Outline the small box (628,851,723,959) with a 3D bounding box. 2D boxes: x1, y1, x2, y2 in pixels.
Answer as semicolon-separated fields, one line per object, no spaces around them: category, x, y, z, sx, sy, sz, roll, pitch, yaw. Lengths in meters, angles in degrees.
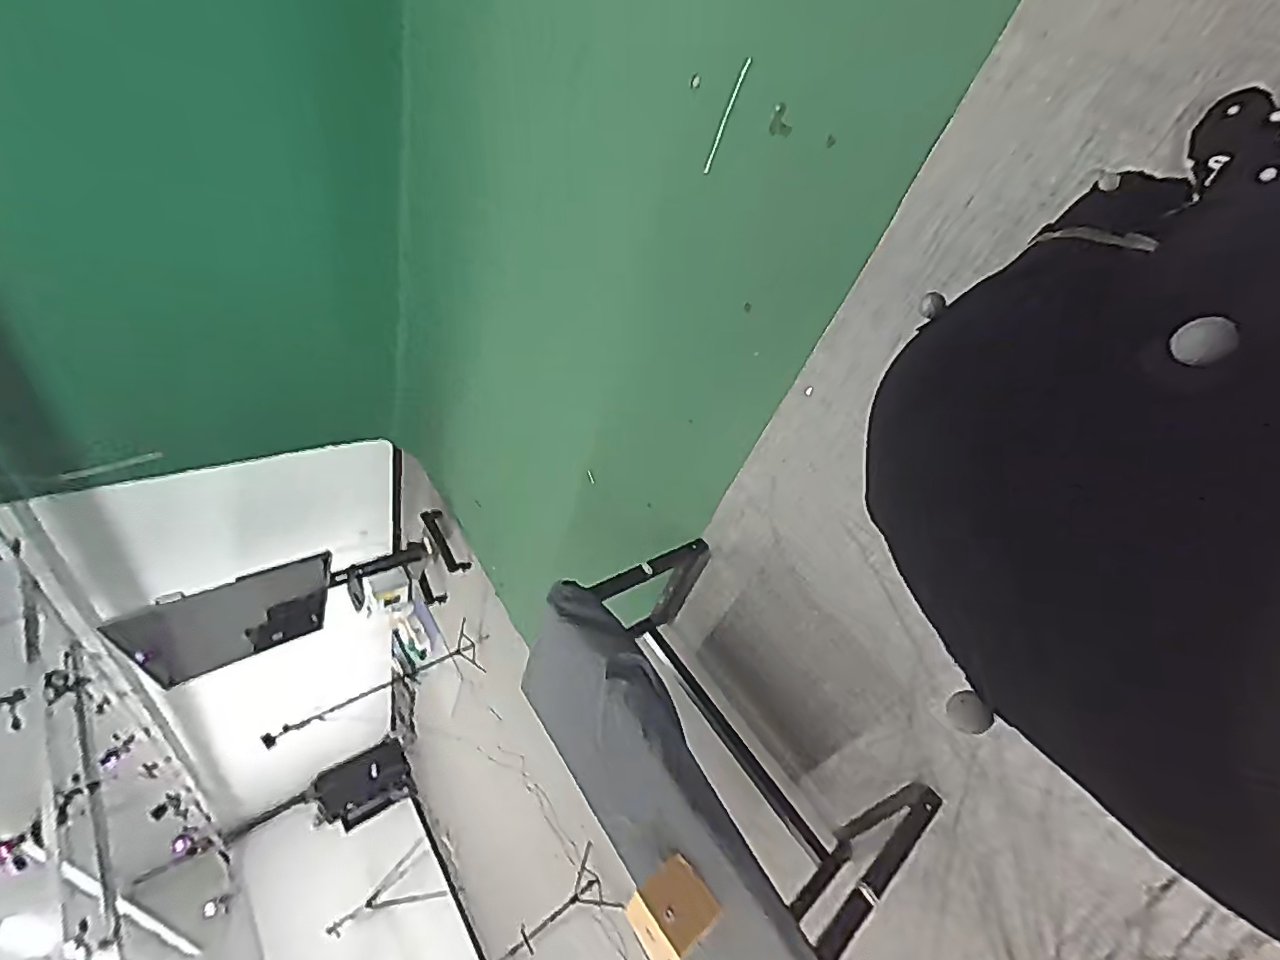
small box;0.097;1.164;1.464;0.179;0.176;0.168;41;131;35
